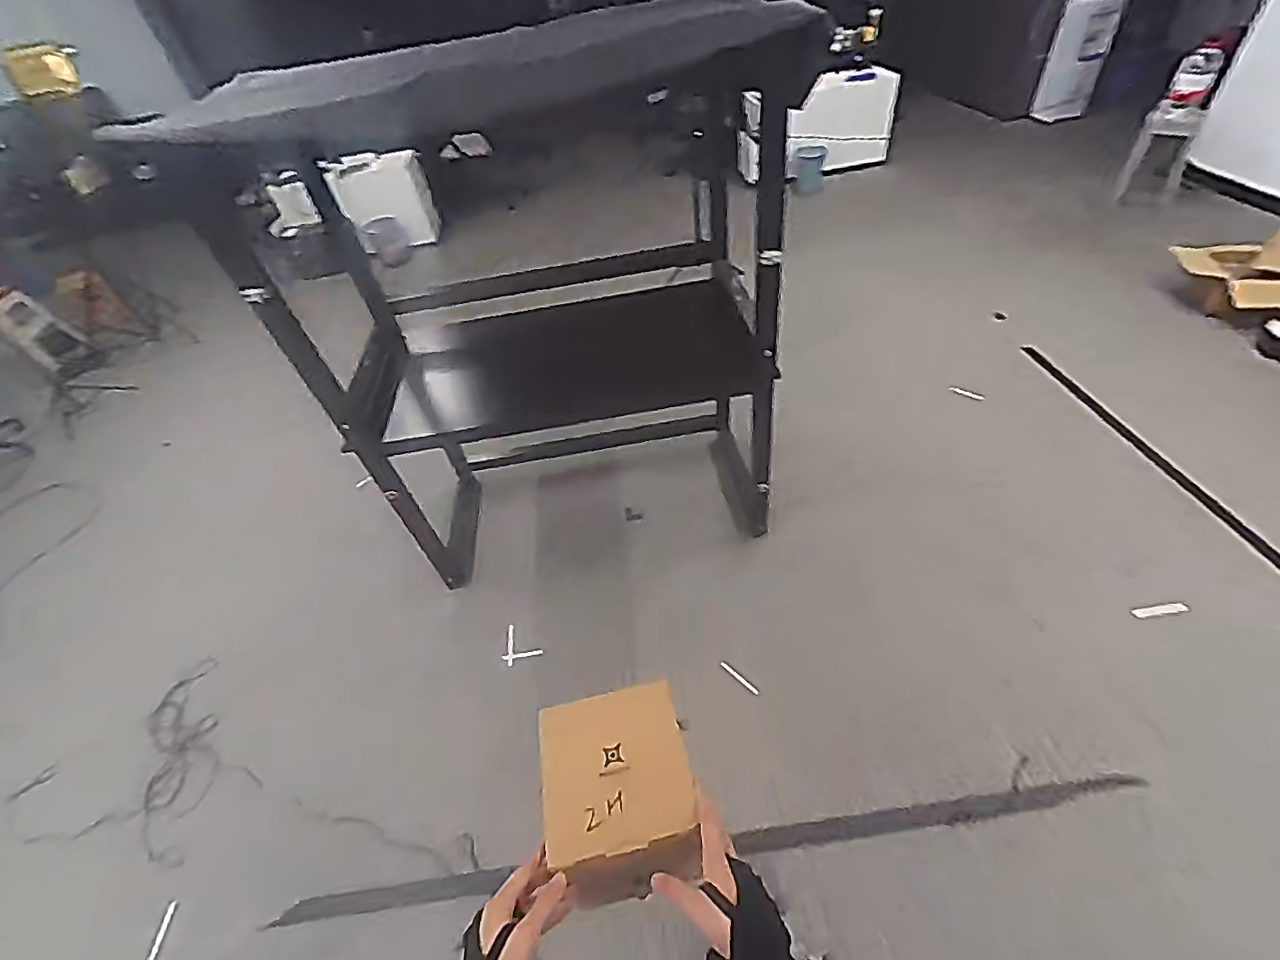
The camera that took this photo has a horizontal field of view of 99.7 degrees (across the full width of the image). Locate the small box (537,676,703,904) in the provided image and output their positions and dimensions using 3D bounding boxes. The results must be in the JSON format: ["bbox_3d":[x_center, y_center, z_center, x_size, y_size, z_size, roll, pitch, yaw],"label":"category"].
[{"bbox_3d":[-0.025,0.378,0.665,0.168,0.176,0.179,-13,40,-4],"label":"small box"}]
